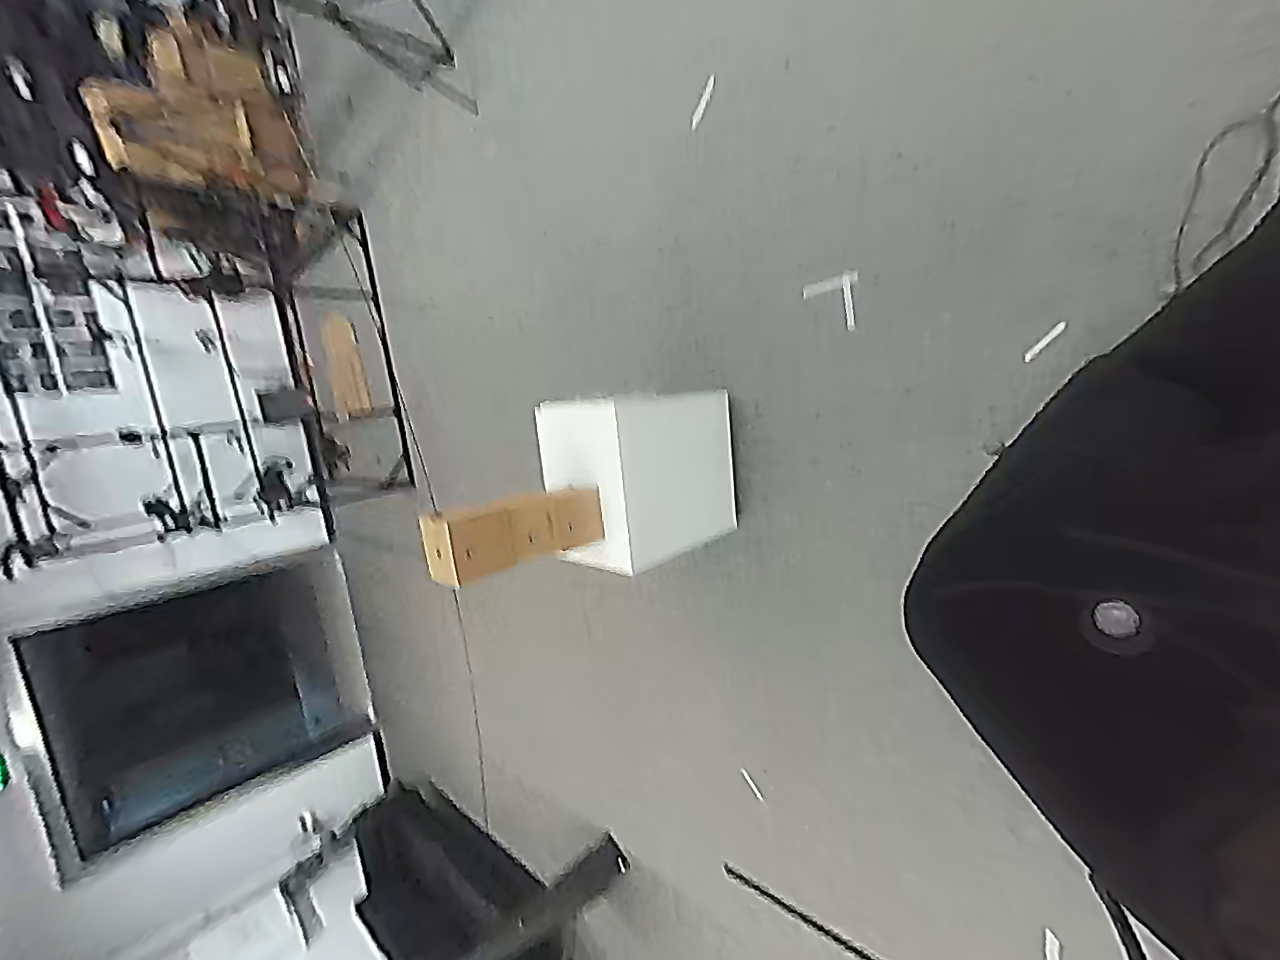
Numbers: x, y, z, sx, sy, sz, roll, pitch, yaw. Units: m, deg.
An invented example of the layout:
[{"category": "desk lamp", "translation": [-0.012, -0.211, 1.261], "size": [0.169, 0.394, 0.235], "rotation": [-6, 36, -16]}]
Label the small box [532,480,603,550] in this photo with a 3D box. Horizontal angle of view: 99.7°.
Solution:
[{"category": "small box", "translation": [-0.231, 0.103, 1.667], "size": [0.168, 0.176, 0.179], "rotation": [1, 101, 45]}]

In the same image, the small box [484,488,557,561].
[{"category": "small box", "translation": [-0.354, 0.122, 1.562], "size": [0.179, 0.176, 0.168], "rotation": [3, 103, 45]}]

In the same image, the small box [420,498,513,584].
[{"category": "small box", "translation": [-0.456, 0.154, 1.435], "size": [0.168, 0.176, 0.179], "rotation": [2, 103, 44]}]
